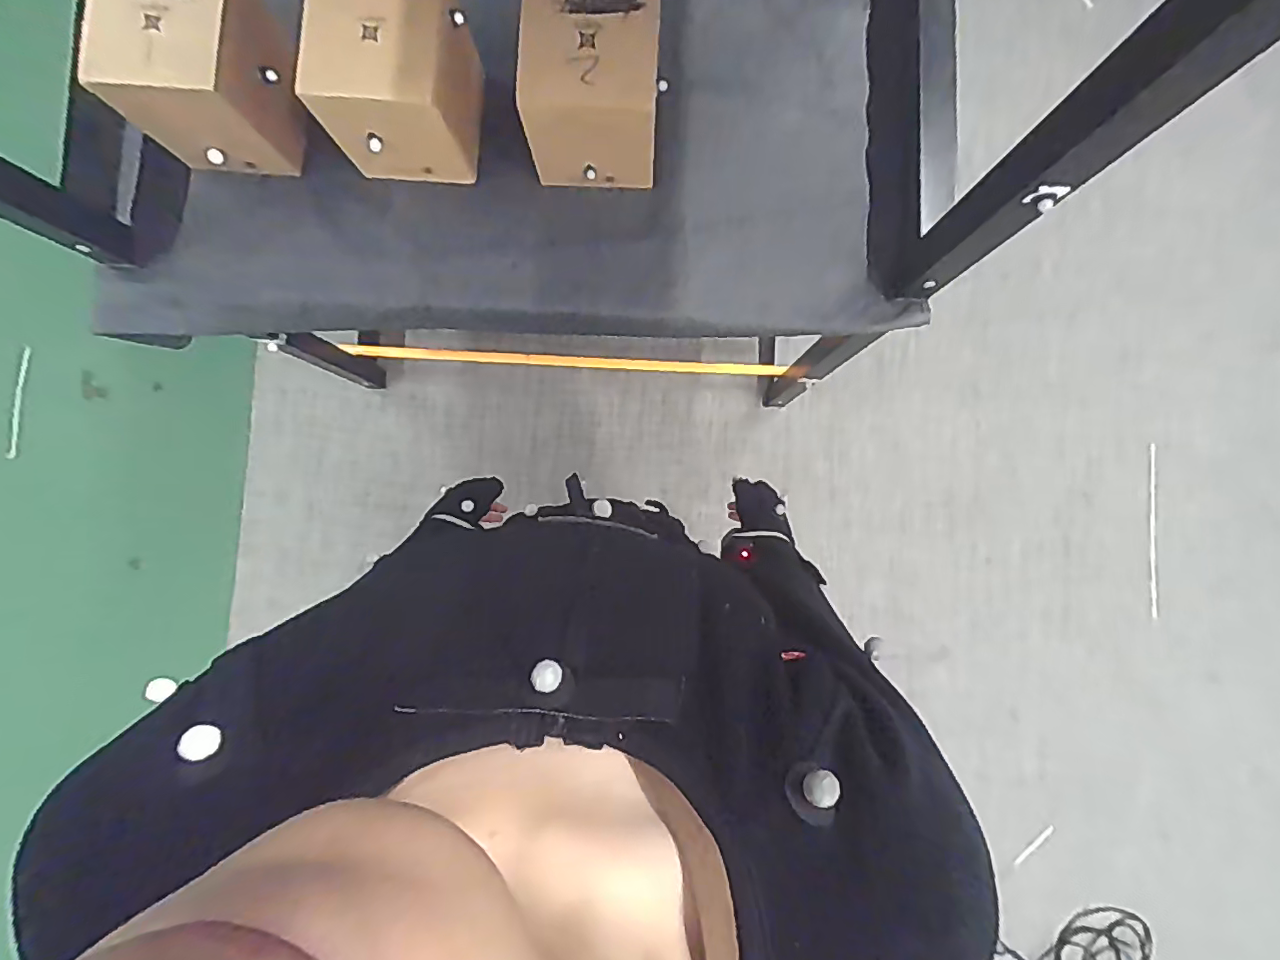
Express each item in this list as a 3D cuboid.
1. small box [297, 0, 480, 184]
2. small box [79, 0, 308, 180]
[{"bbox_3d":[-0.322,-0.527,0.724,0.168,0.176,0.179,3,86,0],"label":"small box"},{"bbox_3d":[-0.574,-0.540,0.722,0.168,0.176,0.179,4,87,0],"label":"small box"}]
